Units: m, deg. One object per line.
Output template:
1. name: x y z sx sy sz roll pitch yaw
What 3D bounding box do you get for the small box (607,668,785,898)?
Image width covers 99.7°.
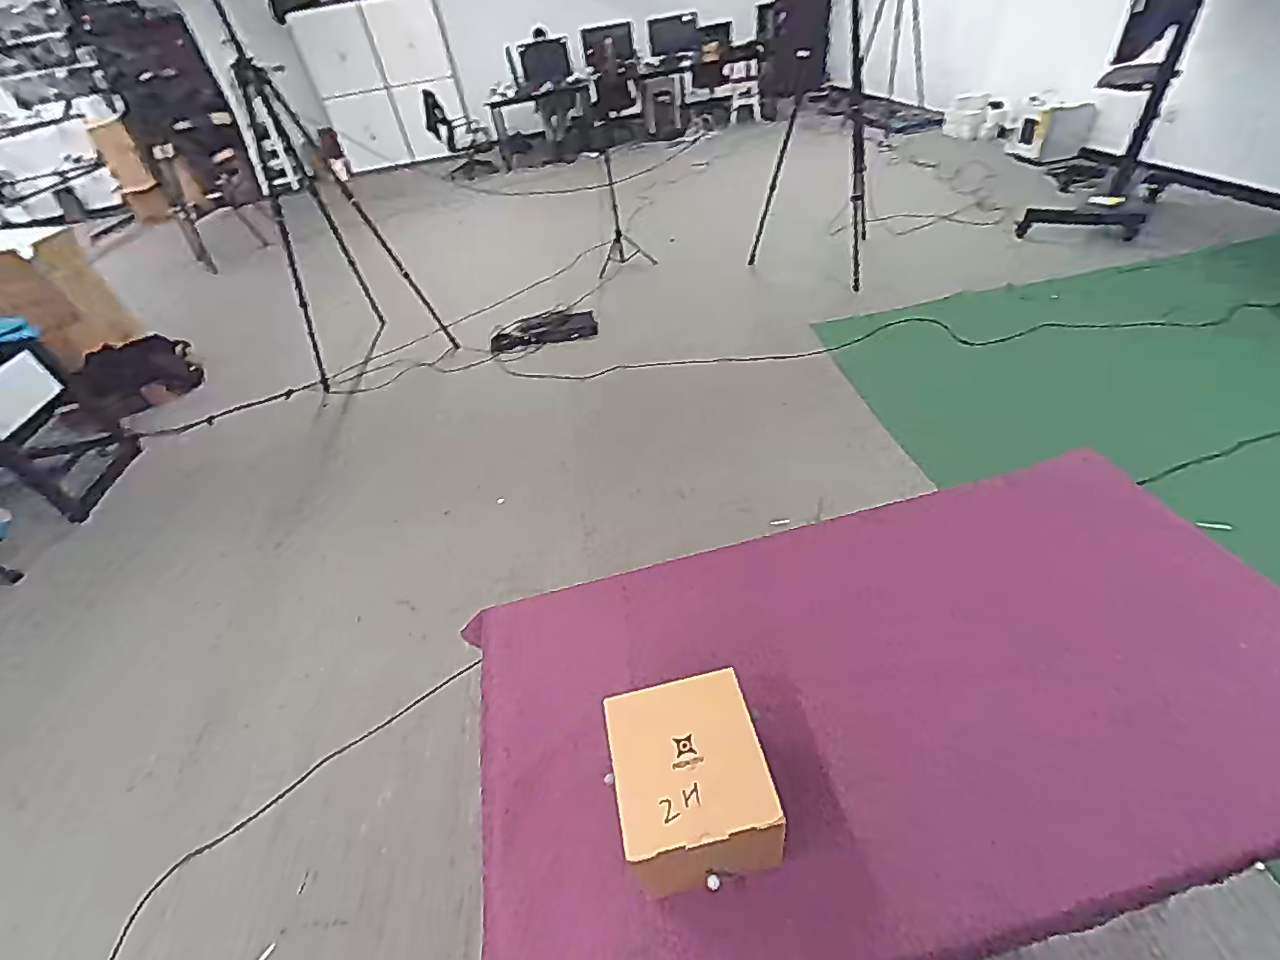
1. small box: 0.062 0.363 0.652 0.168 0.176 0.179 -14 41 -3
